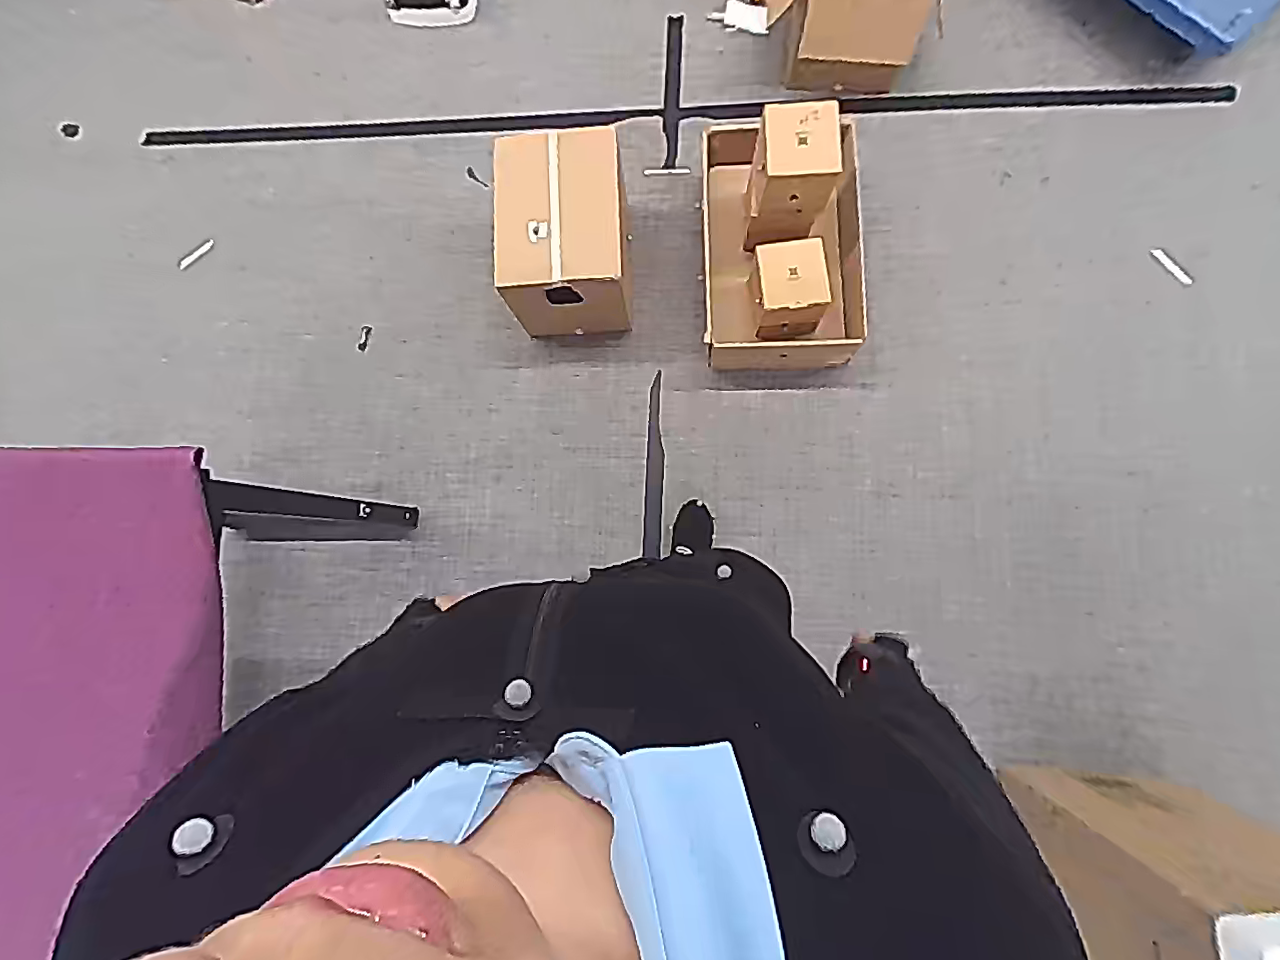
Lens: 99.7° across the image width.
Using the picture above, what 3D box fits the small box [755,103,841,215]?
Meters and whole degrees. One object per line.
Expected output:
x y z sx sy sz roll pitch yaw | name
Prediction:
0.372 -0.754 1.291 0.168 0.176 0.179 -1 84 3 | small box

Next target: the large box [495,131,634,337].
-0.187 -0.642 1.464 0.320 0.320 0.408 -3 83 5 | large box
